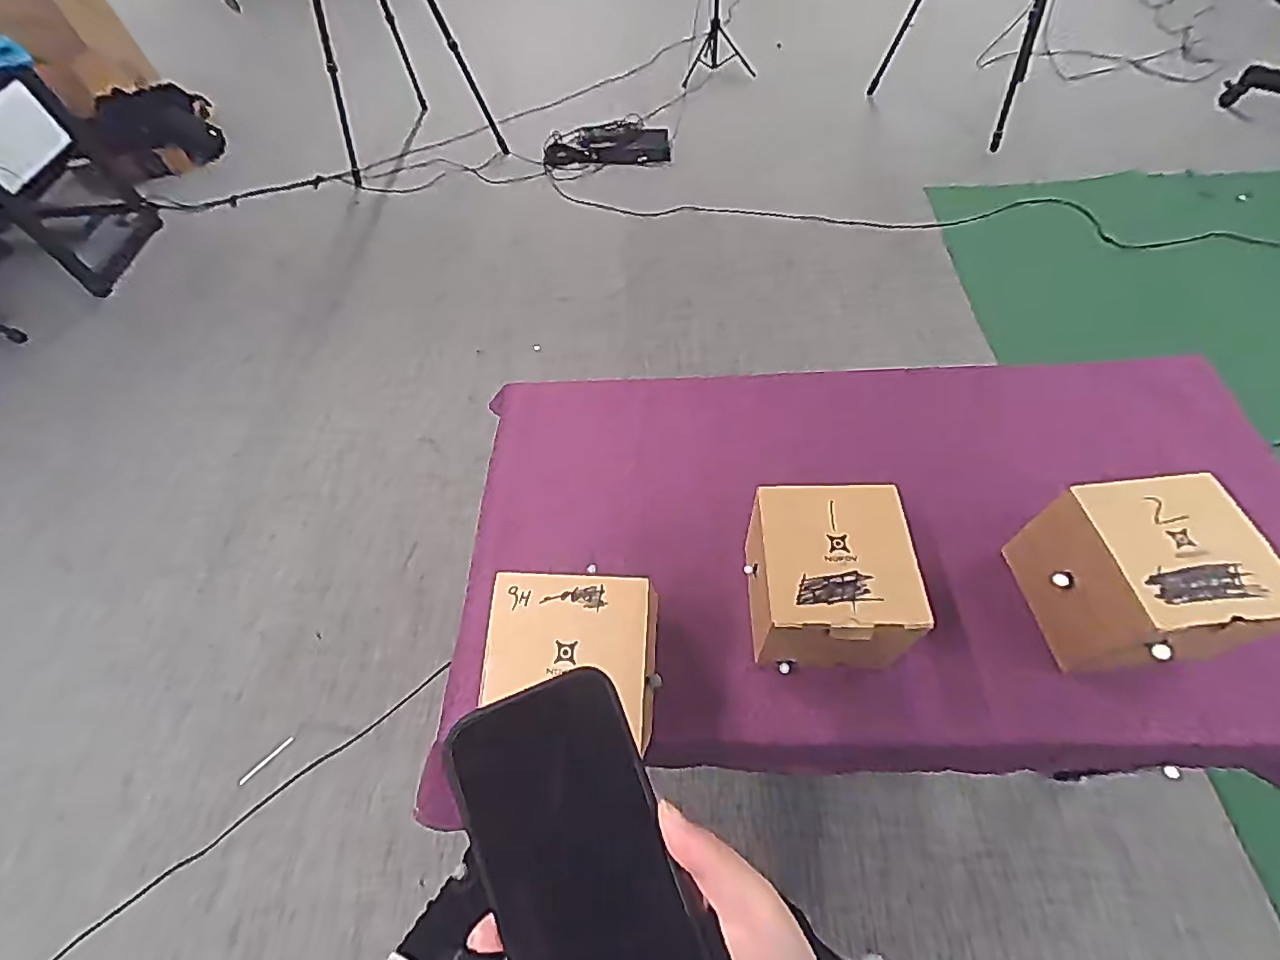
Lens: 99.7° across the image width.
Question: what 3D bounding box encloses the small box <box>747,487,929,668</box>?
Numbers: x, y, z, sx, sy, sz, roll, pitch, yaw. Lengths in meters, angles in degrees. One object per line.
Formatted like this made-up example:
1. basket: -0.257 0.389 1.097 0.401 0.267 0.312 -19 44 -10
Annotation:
1. small box: 0.226 0.126 0.671 0.168 0.176 0.179 -1 56 4

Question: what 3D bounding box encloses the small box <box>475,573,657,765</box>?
1. small box: -0.069 0.209 0.619 0.168 0.176 0.179 1 72 5
